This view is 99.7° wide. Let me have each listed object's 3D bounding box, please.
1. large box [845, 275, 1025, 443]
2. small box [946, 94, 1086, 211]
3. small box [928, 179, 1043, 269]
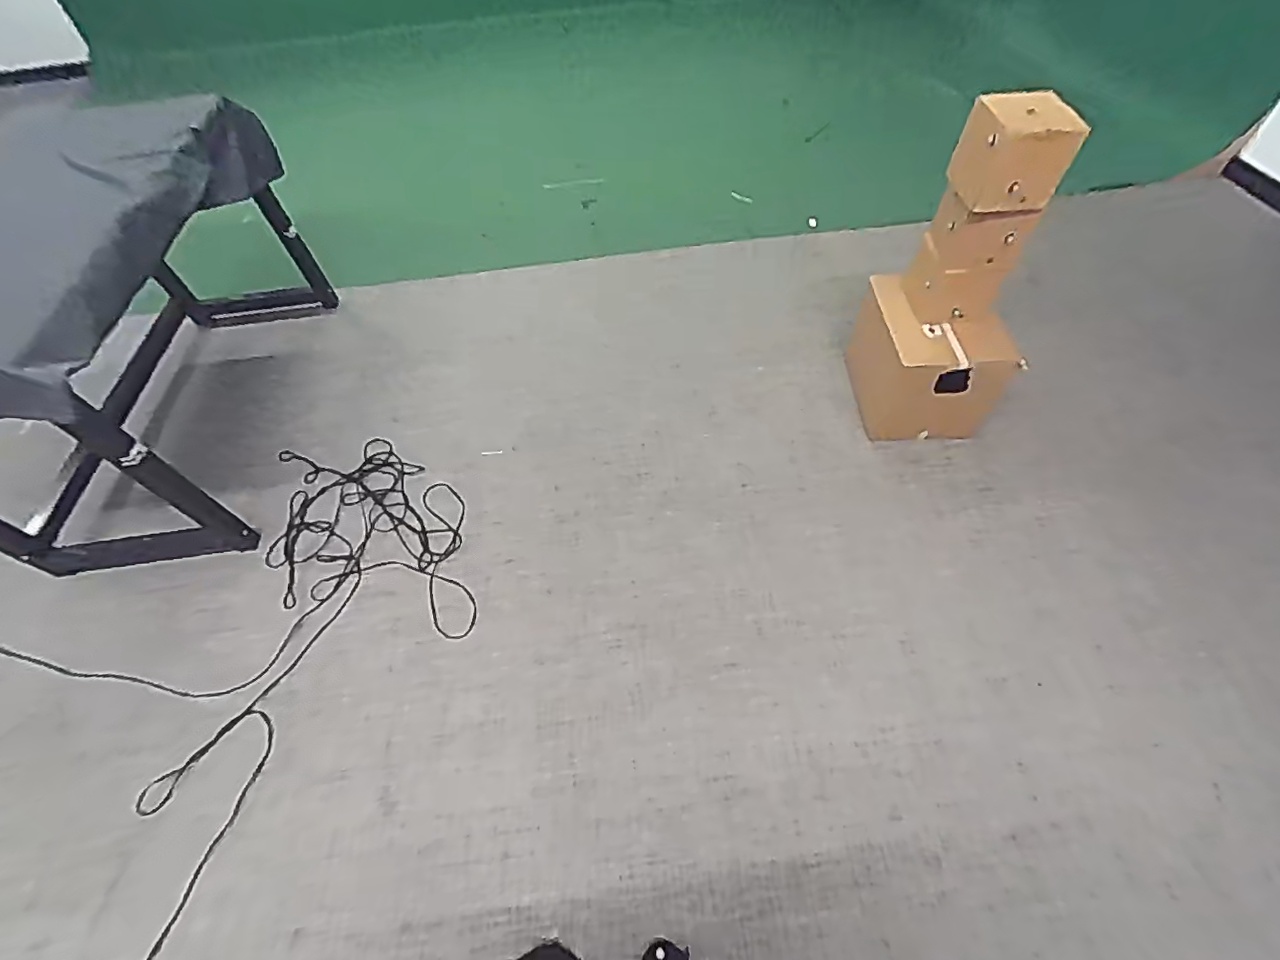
[{"bbox_3d":[0.857,-0.366,1.645,0.320,0.320,0.408,-3,56,4],"label":"large box"},{"bbox_3d":[0.818,-0.725,1.202,0.168,0.176,0.179,-3,56,1],"label":"small box"},{"bbox_3d":[0.845,-0.644,1.343,0.168,0.176,0.179,2,55,5],"label":"small box"}]
